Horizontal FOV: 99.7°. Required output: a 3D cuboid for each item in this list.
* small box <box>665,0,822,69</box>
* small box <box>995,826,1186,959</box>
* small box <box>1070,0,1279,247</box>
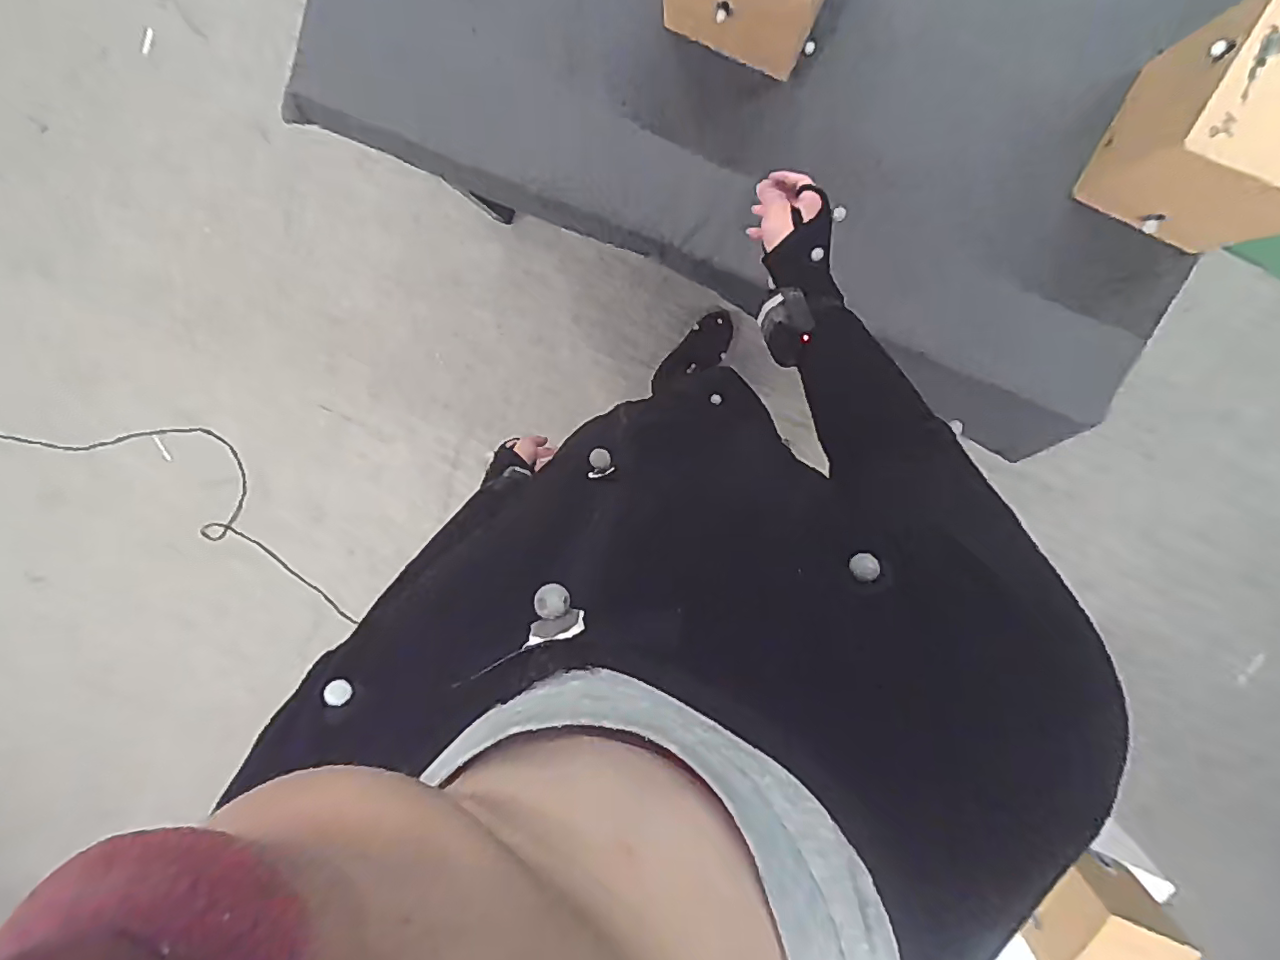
[{"bbox_3d":[0.137,-0.599,0.588,0.179,0.176,0.168,25,102,-1],"label":"small box"},{"bbox_3d":[0.785,0.779,0.971,0.168,0.176,0.179,22,102,-3],"label":"small box"},{"bbox_3d":[0.651,-0.380,0.601,0.179,0.176,0.168,25,102,-2],"label":"small box"}]
